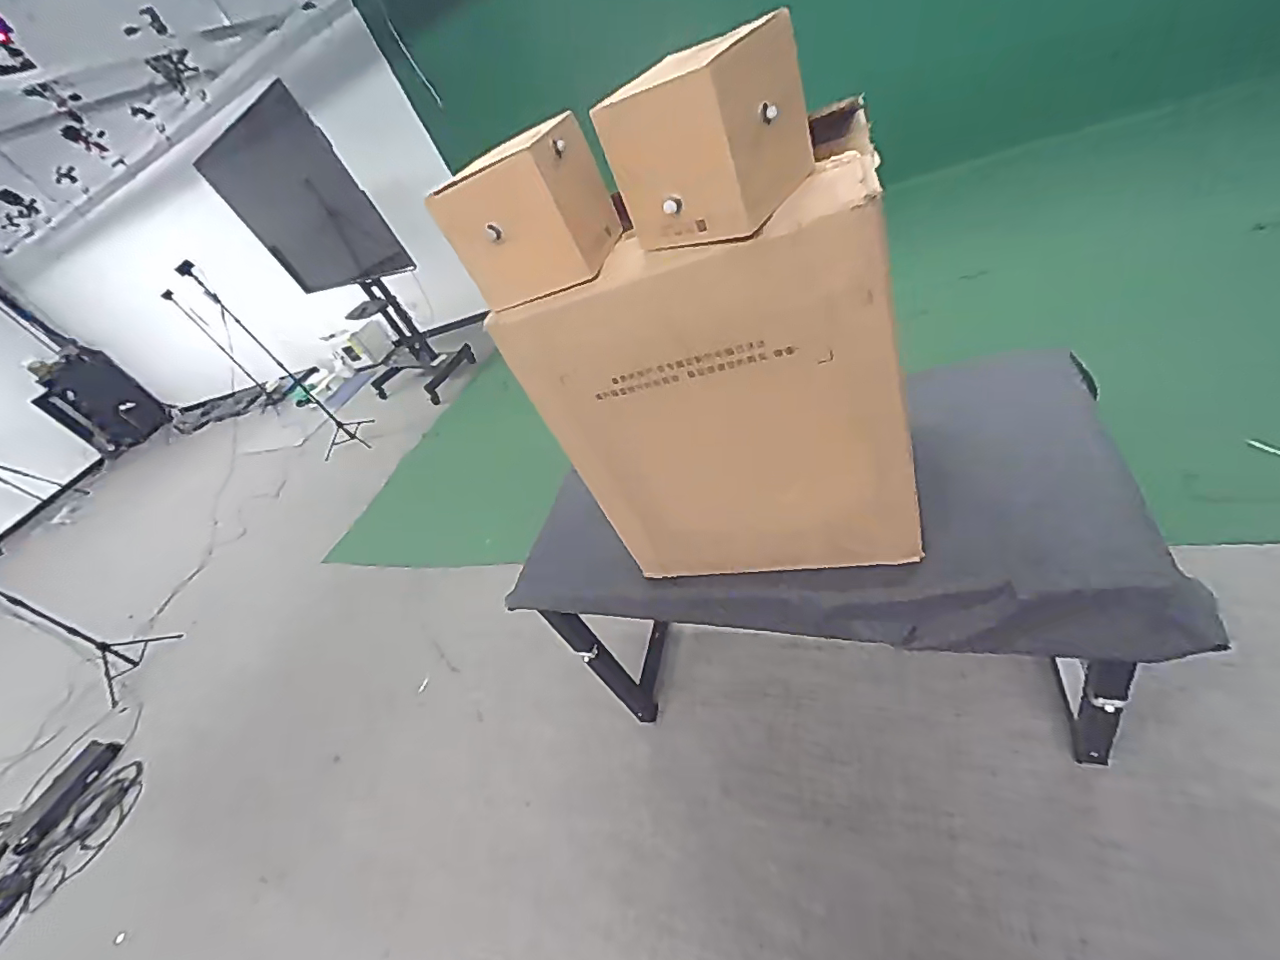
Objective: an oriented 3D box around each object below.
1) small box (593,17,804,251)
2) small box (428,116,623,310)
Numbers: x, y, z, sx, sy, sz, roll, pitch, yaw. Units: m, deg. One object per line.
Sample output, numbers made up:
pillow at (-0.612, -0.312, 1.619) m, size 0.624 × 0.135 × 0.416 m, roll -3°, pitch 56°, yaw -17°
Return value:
small box at (0.081, -0.400, 0.649) m, size 0.168 × 0.176 × 0.179 m, roll 13°, pitch 55°, yaw 41°
small box at (-0.150, -0.367, 0.764) m, size 0.179 × 0.176 × 0.168 m, roll -10°, pitch 42°, yaw 27°
